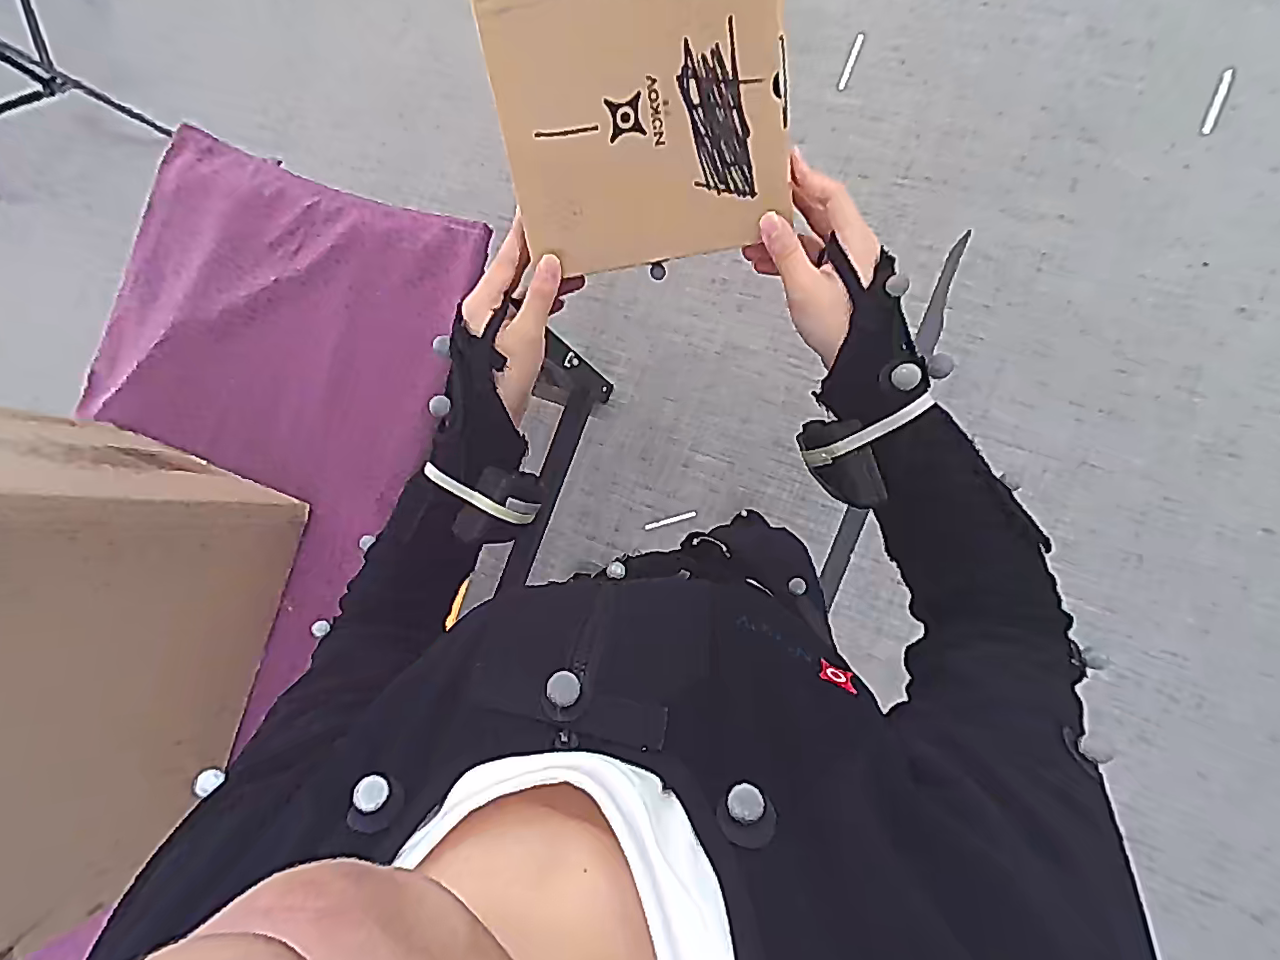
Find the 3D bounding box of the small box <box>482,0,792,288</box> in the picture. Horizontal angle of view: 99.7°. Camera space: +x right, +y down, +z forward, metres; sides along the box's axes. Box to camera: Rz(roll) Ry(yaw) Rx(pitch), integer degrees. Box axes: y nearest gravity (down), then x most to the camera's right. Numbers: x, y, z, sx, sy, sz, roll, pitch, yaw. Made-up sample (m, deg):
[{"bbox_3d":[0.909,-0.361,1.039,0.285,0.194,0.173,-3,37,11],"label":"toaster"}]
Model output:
[{"bbox_3d":[0.010,-0.250,0.410,0.179,0.176,0.168,-6,112,9],"label":"small box"}]
